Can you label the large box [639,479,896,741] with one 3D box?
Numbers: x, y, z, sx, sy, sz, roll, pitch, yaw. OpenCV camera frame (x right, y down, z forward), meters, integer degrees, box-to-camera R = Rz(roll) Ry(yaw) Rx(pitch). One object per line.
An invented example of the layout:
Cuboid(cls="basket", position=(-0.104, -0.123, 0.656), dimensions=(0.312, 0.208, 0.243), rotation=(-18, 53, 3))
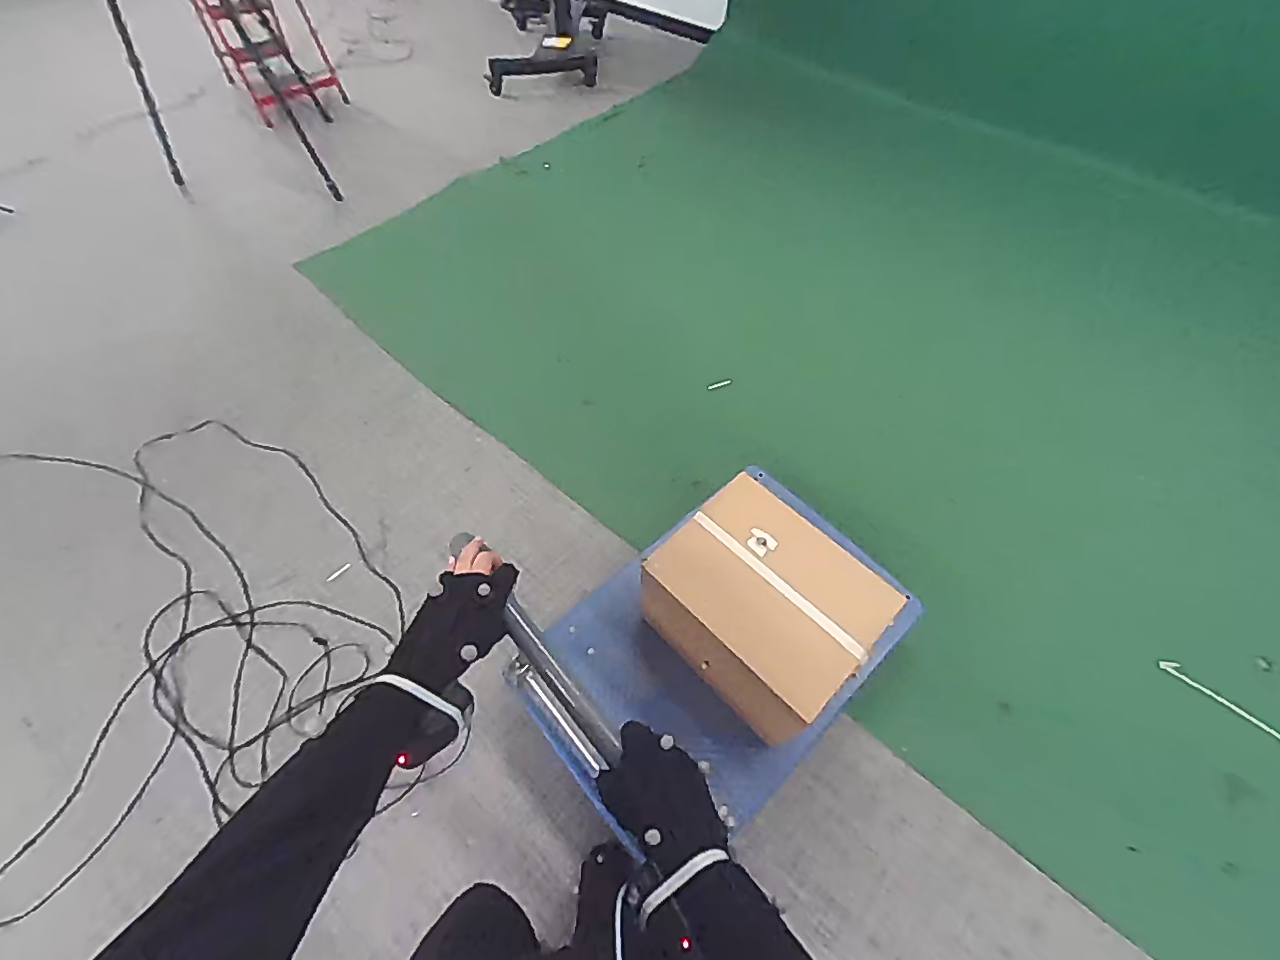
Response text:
Cuboid(cls="large box", position=(0.246, 0.282, 1.170), dimensions=(0.320, 0.320, 0.408), rotation=(-39, 65, -23))
